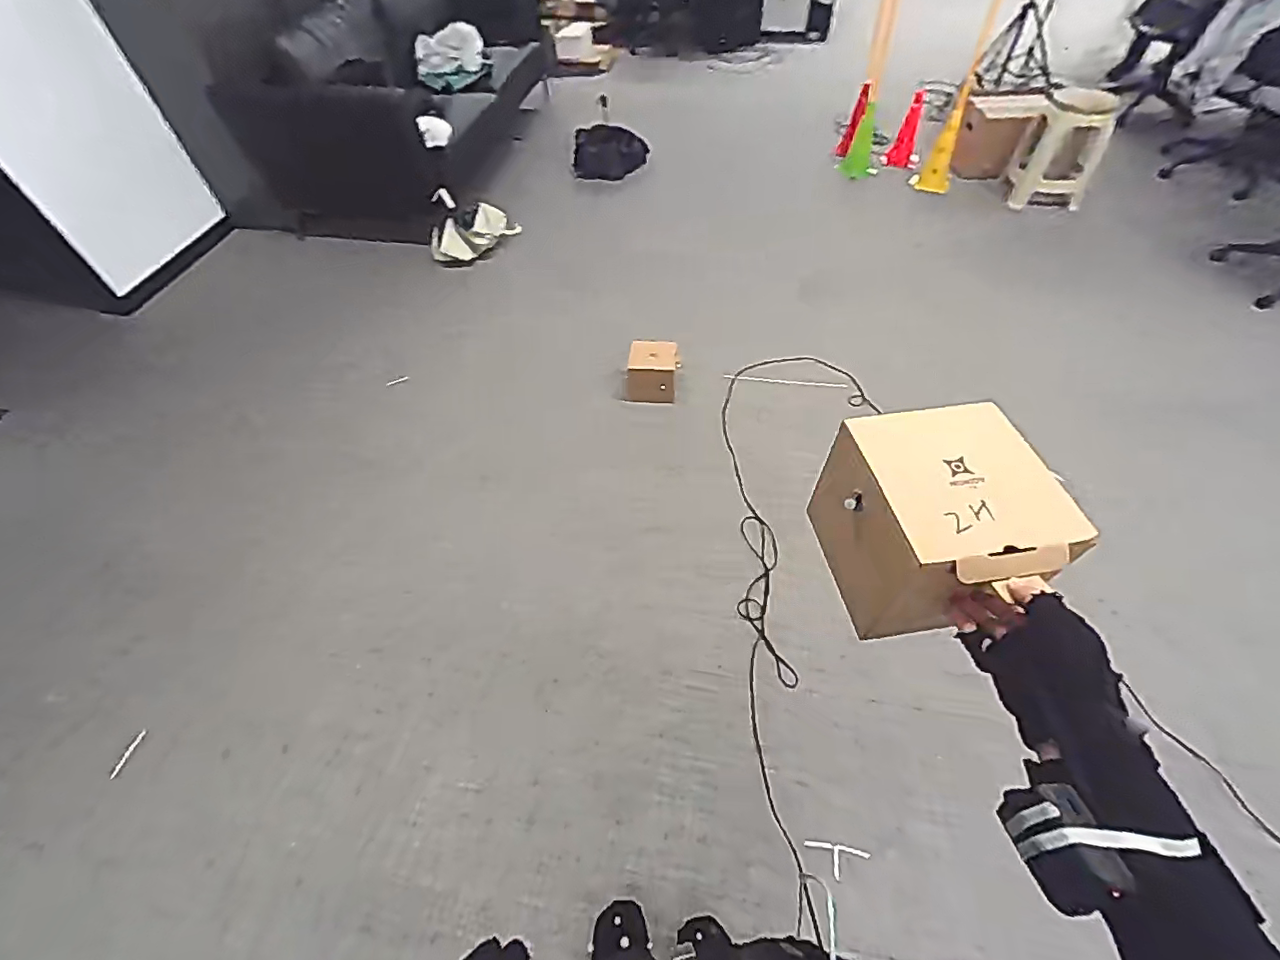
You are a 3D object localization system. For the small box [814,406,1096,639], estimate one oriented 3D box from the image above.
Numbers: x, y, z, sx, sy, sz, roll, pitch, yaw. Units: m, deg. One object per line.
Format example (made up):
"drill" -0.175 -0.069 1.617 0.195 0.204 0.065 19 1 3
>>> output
"small box" 0.303 0.047 0.574 0.168 0.176 0.179 -7 53 -4

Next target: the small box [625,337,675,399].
"small box" 0.042 -0.424 2.053 0.179 0.176 0.168 2 52 5
